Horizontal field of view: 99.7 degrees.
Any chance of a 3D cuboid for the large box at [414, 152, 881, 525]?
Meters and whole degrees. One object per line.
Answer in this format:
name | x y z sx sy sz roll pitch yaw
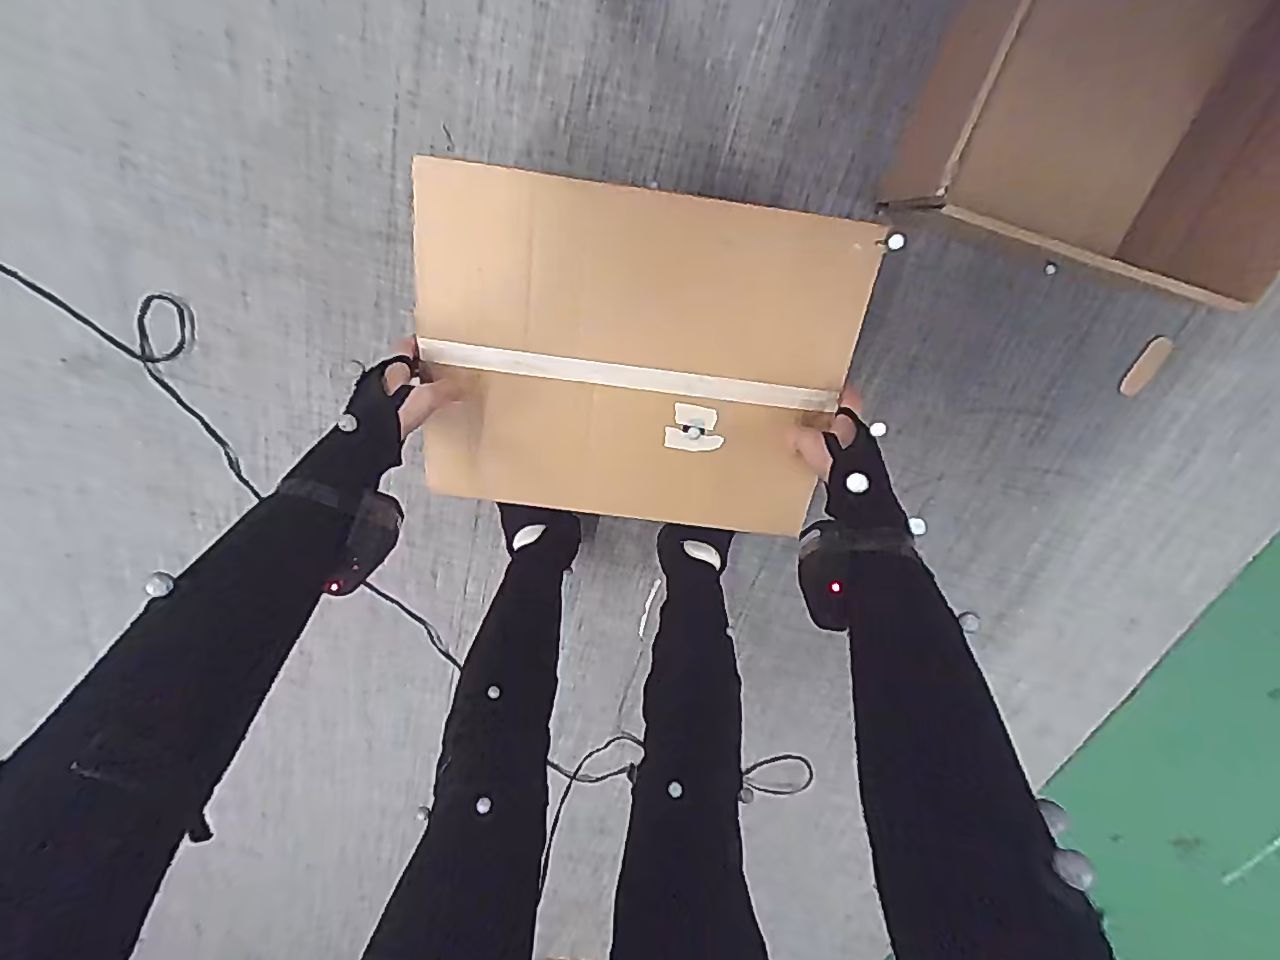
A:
large box | -0.009 -0.169 0.647 0.408 0.320 0.320 7 115 -4
